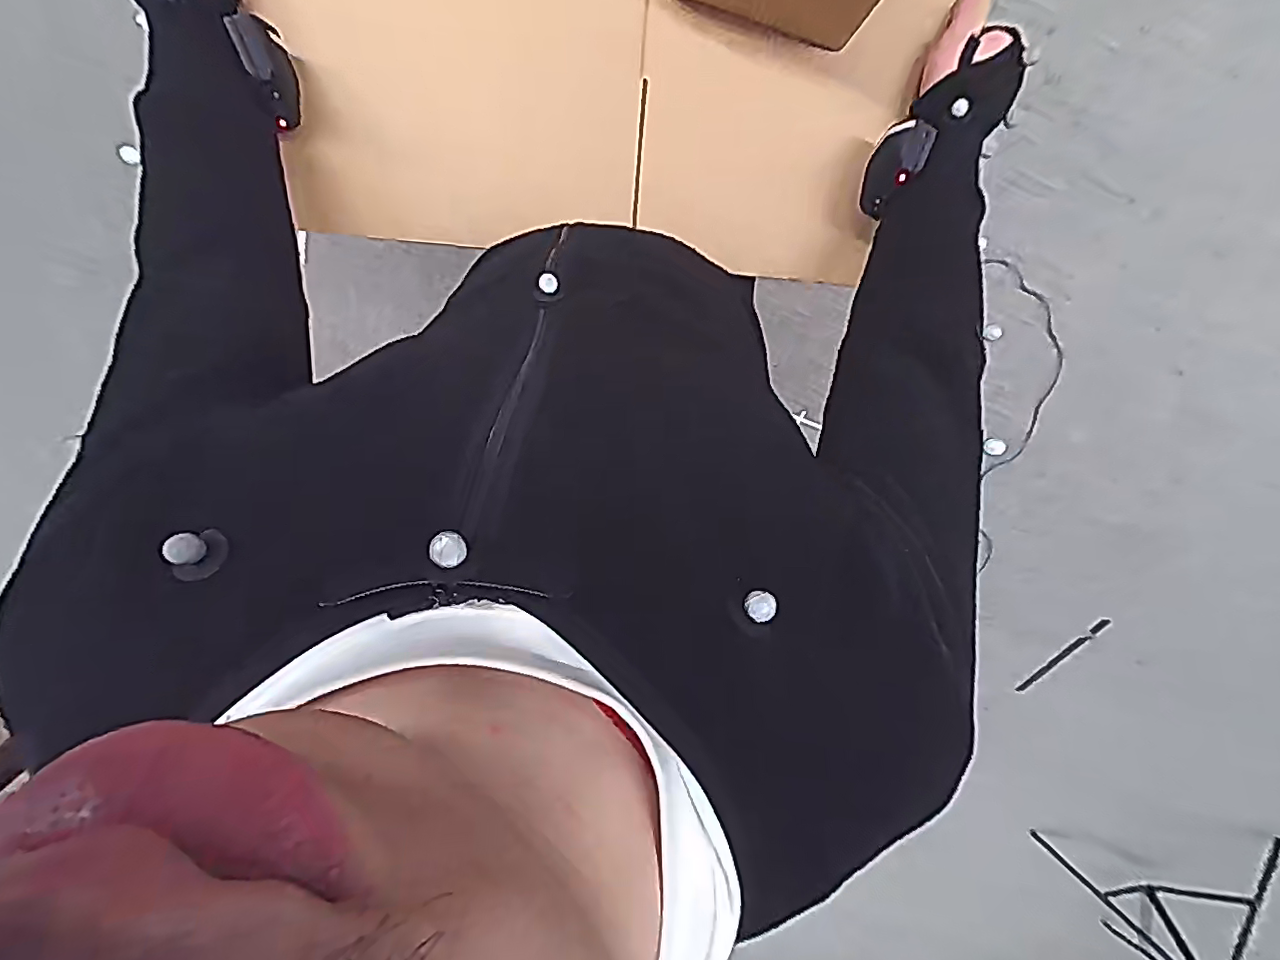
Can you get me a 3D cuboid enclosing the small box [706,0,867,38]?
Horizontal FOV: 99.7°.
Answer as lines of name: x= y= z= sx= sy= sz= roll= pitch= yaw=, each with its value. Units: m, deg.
small box: x=0.119 y=-0.462 z=0.384 sx=0.179 sy=0.176 sz=0.168 roll=15 pitch=108 yaw=-4
